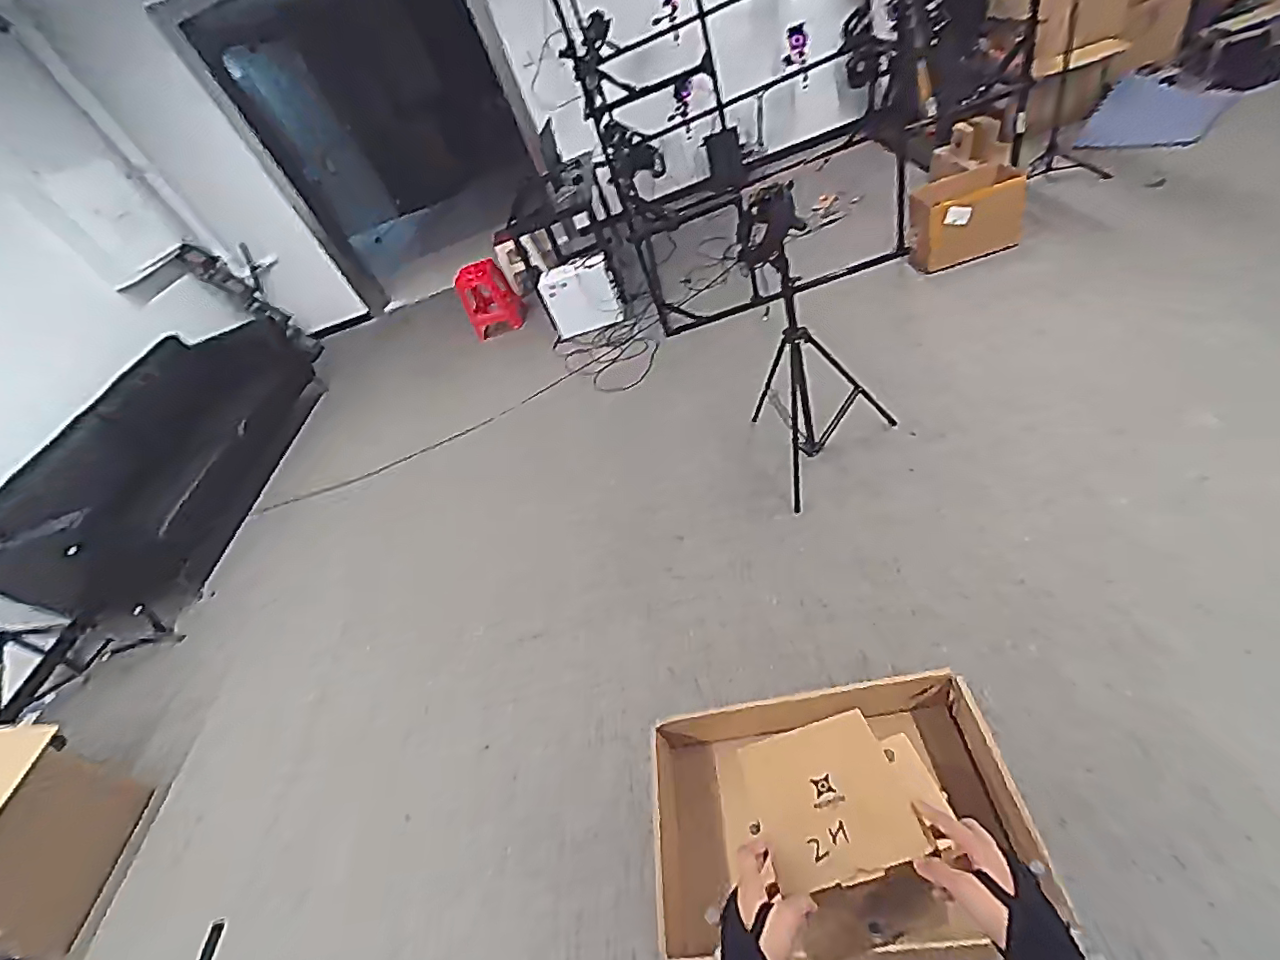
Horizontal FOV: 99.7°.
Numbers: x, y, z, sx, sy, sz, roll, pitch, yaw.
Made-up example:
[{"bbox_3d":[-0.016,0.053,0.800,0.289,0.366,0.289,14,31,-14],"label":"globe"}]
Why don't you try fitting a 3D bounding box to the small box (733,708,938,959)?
[{"bbox_3d":[0.229,0.420,0.651,0.168,0.176,0.179,-21,29,2],"label":"small box"}]
